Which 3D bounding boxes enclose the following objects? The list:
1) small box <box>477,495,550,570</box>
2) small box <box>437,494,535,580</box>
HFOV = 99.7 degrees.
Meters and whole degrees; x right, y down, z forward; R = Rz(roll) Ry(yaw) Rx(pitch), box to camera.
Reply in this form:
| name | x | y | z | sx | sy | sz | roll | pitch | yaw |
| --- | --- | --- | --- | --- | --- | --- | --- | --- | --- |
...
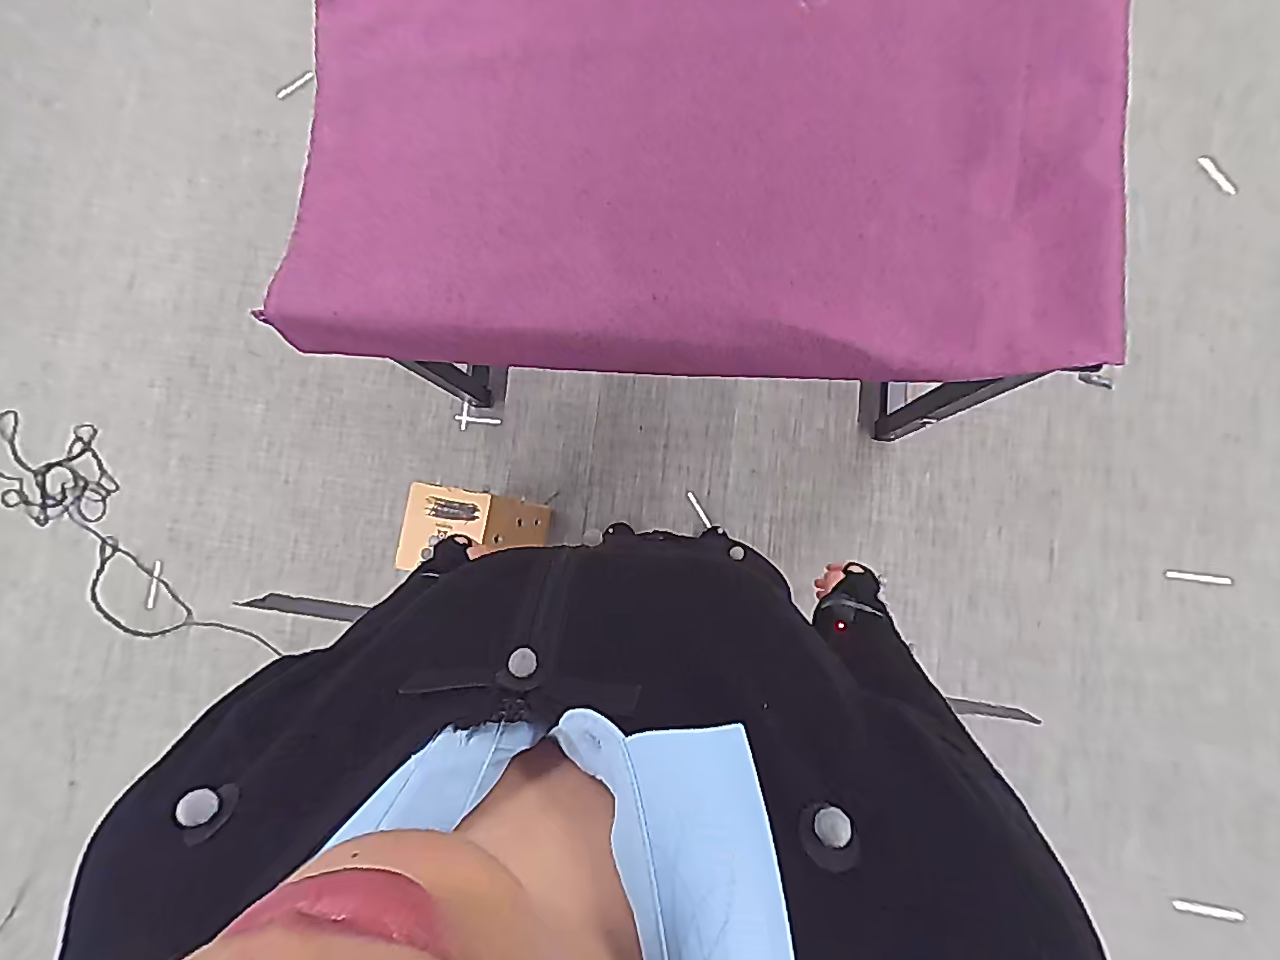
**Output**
| name | x | y | z | sx | sy | sz | roll | pitch | yaw |
| --- | --- | --- | --- | --- | --- | --- | --- | --- | --- |
| small box | -0.352 | 0.145 | 1.453 | 0.168 | 0.176 | 0.179 | 12 | 86 | 5 |
| small box | -0.357 | 0.134 | 1.289 | 0.168 | 0.176 | 0.179 | 7 | 86 | 5 |
